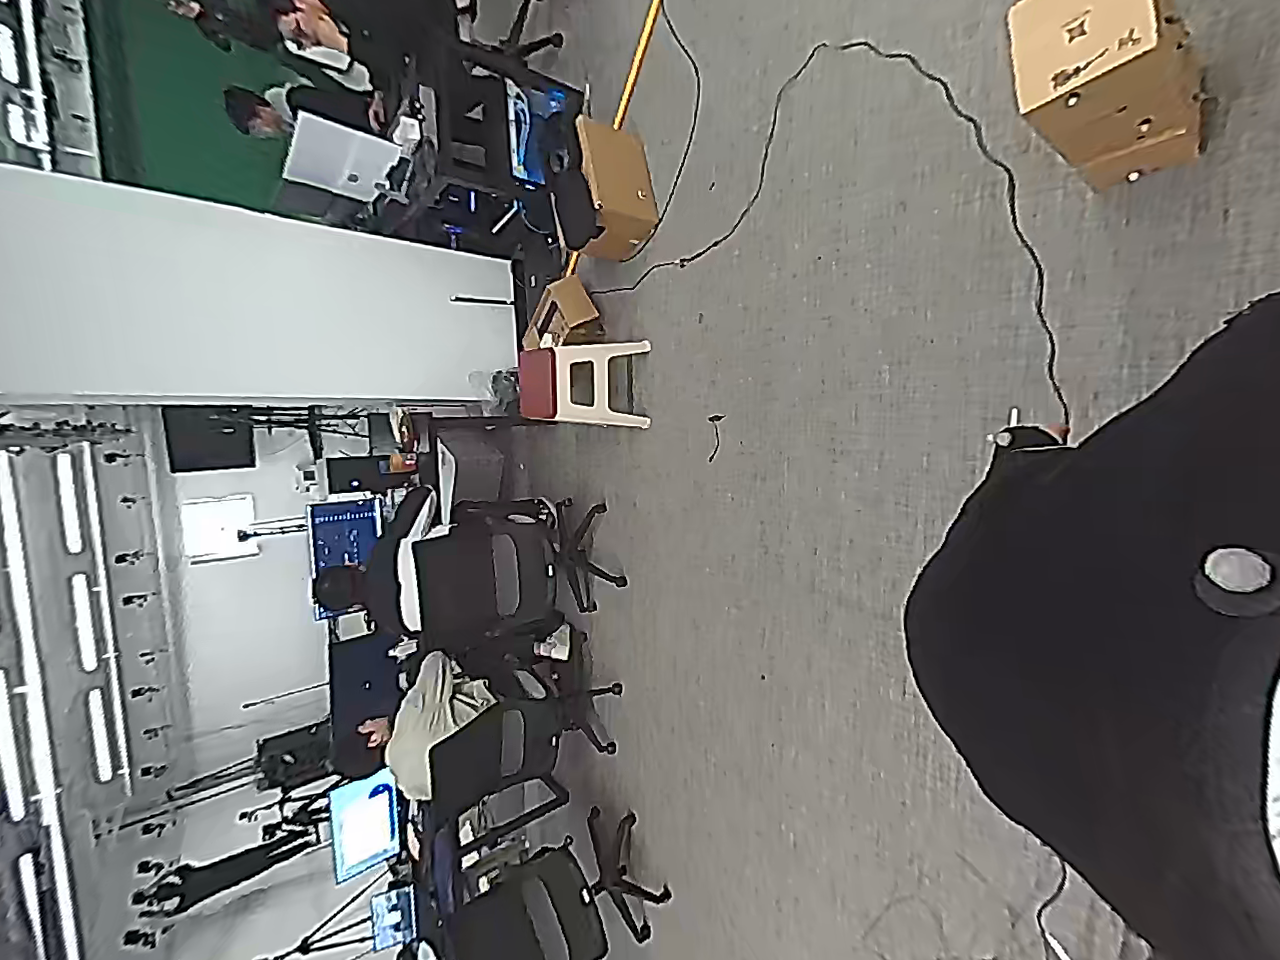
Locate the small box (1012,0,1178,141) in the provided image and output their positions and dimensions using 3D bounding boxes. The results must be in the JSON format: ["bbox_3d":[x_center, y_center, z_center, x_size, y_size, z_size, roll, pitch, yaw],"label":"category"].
[{"bbox_3d":[0.713,-0.681,0.849,0.168,0.176,0.179,-7,89,52],"label":"small box"}]

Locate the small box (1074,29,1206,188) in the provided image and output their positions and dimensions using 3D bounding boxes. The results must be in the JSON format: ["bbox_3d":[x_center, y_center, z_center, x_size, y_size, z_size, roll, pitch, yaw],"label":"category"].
[{"bbox_3d":[0.970,-0.704,1.050,0.168,0.176,0.179,2,97,52],"label":"small box"}]

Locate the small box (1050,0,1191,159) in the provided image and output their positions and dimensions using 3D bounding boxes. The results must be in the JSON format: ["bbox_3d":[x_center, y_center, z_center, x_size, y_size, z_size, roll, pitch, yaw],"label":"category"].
[{"bbox_3d":[0.842,-0.698,0.951,0.168,0.176,0.179,-3,91,51],"label":"small box"}]
